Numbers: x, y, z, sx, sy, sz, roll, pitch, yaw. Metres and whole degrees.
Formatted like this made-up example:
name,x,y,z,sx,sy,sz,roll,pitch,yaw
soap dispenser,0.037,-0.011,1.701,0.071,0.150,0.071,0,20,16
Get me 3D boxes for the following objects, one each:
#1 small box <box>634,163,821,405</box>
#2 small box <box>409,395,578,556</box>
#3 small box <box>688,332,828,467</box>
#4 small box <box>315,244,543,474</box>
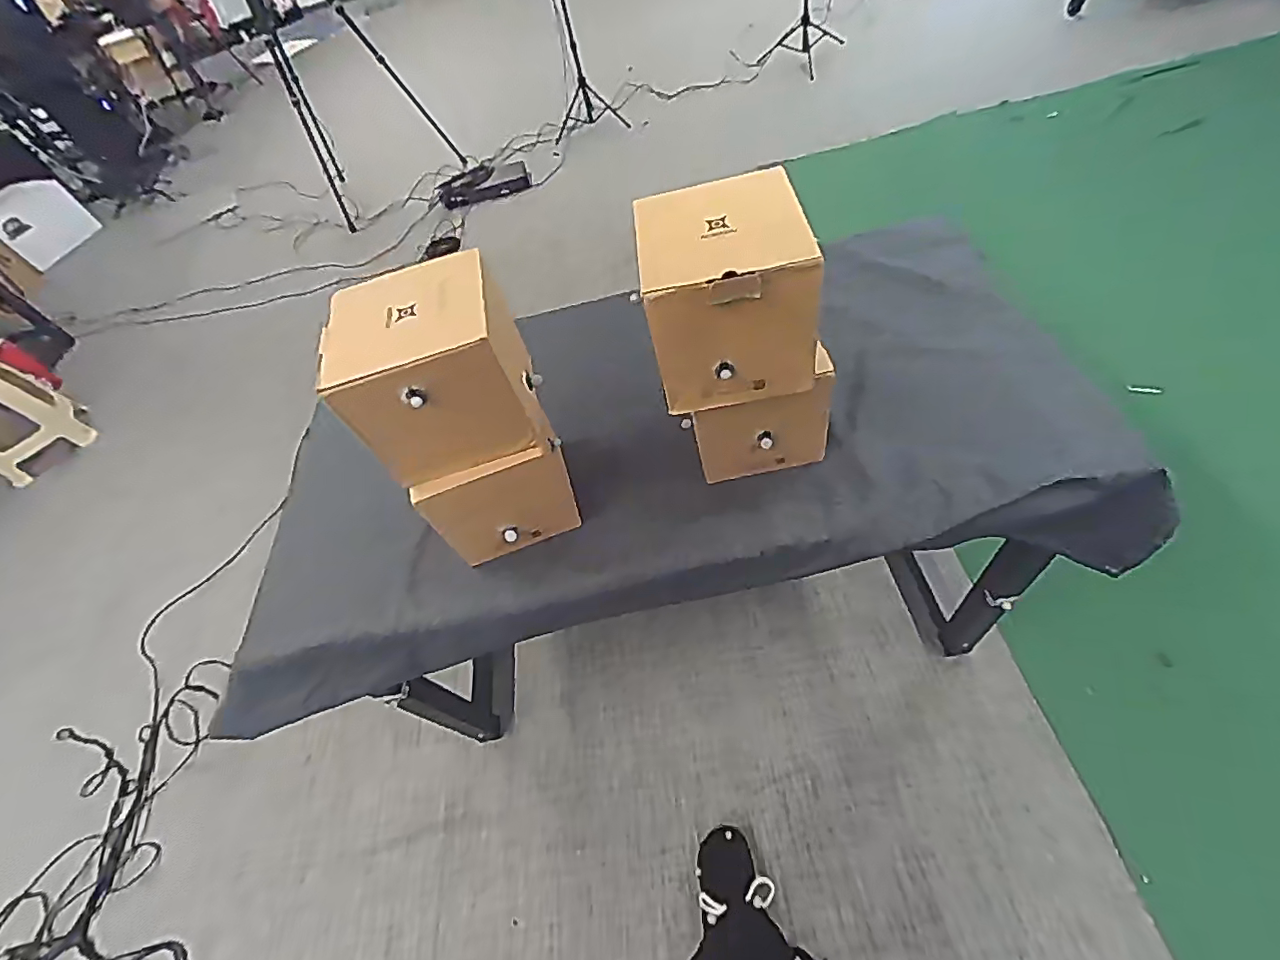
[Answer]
name,x,y,z,sx,sy,sz,roll,pitch,yaw
small box,0.091,-0.211,0.600,0.168,0.176,0.179,-10,54,7
small box,-0.198,-0.026,0.742,0.168,0.176,0.179,-21,54,-1
small box,0.145,-0.134,0.736,0.168,0.176,0.179,-12,54,5
small box,-0.228,-0.131,0.620,0.179,0.176,0.168,-17,55,0
